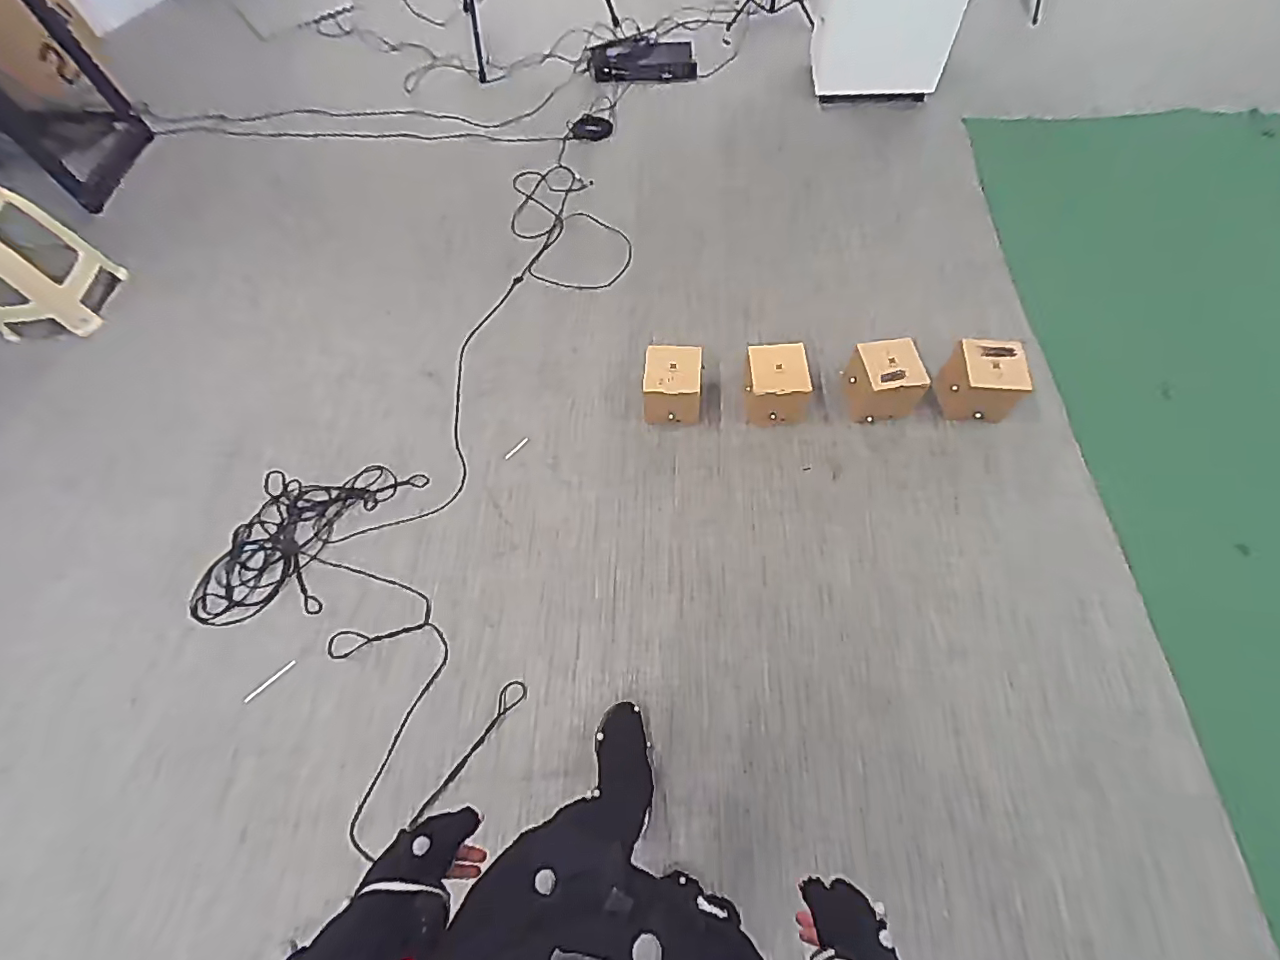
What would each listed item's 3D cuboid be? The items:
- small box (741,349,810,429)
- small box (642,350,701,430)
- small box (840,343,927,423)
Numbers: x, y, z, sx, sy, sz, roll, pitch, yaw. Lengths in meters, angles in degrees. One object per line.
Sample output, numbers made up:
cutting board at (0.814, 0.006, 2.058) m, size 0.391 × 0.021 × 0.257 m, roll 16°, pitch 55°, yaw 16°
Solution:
small box at (0.403, -0.274, 1.637) m, size 0.168 × 0.176 × 0.179 m, roll -3°, pitch 63°, yaw 3°
small box at (0.098, -0.276, 1.657) m, size 0.168 × 0.176 × 0.179 m, roll 3°, pitch 62°, yaw 6°
small box at (0.720, -0.283, 1.622) m, size 0.168 × 0.176 × 0.179 m, roll -6°, pitch 61°, yaw 0°
